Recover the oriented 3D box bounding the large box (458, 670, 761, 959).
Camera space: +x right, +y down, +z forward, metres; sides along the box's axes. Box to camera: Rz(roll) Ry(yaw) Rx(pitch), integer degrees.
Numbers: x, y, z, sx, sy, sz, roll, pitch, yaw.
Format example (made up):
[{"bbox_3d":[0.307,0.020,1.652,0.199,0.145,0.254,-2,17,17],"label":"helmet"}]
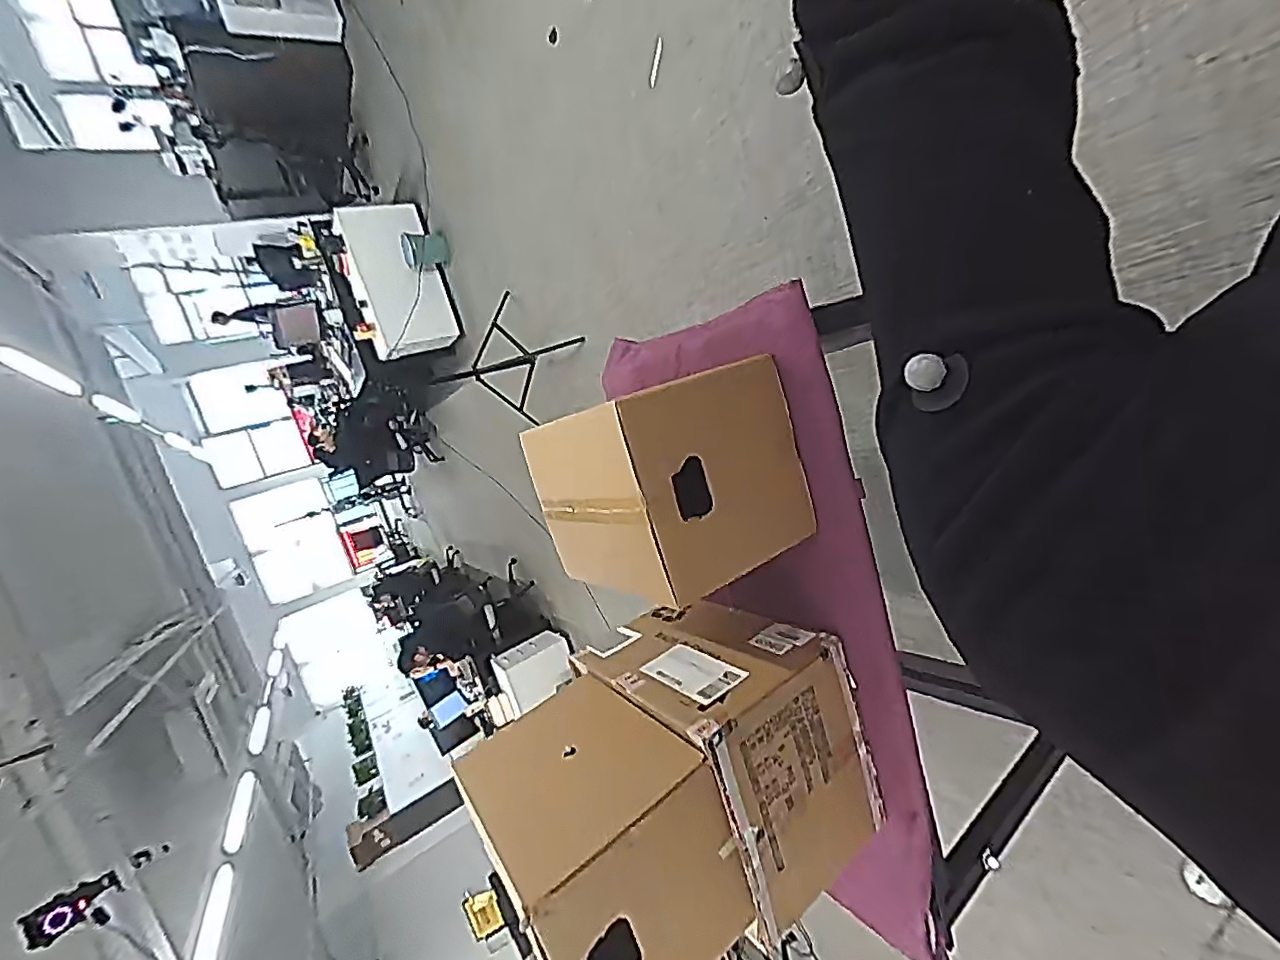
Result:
[{"bbox_3d":[-0.069,0.587,0.931,0.408,0.320,0.320,-1,112,58],"label":"large box"}]
